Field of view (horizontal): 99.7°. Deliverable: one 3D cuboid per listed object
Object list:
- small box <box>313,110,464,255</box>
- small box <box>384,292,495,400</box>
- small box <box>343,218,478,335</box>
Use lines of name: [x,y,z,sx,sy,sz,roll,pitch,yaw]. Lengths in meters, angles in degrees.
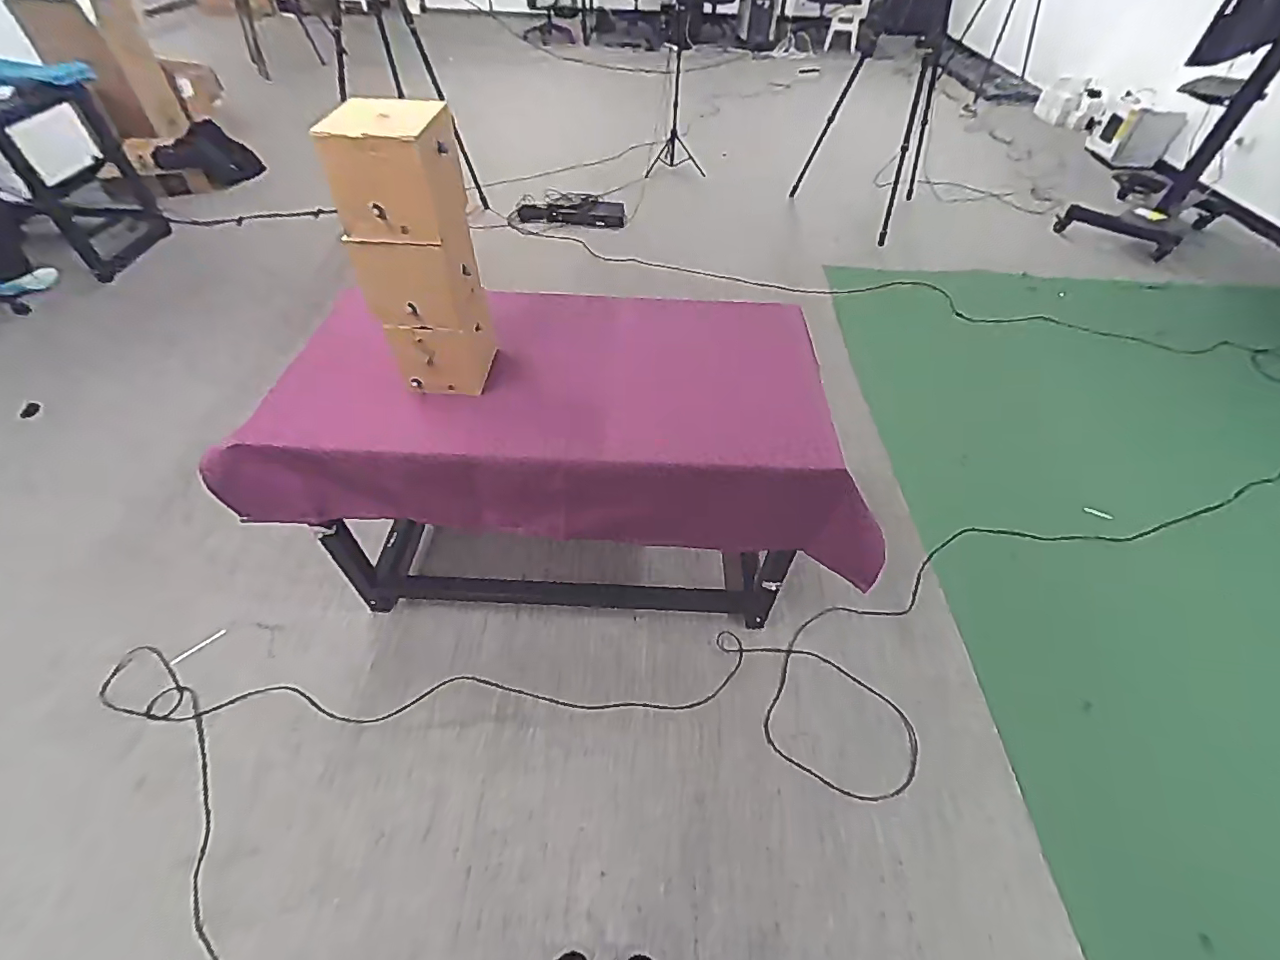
small box: [-0.413,-0.511,0.929,0.168,0.176,0.179,2,49,0]
small box: [-0.421,-0.290,1.172,0.168,0.176,0.179,3,48,0]
small box: [-0.429,-0.399,1.048,0.179,0.176,0.168,4,48,0]
